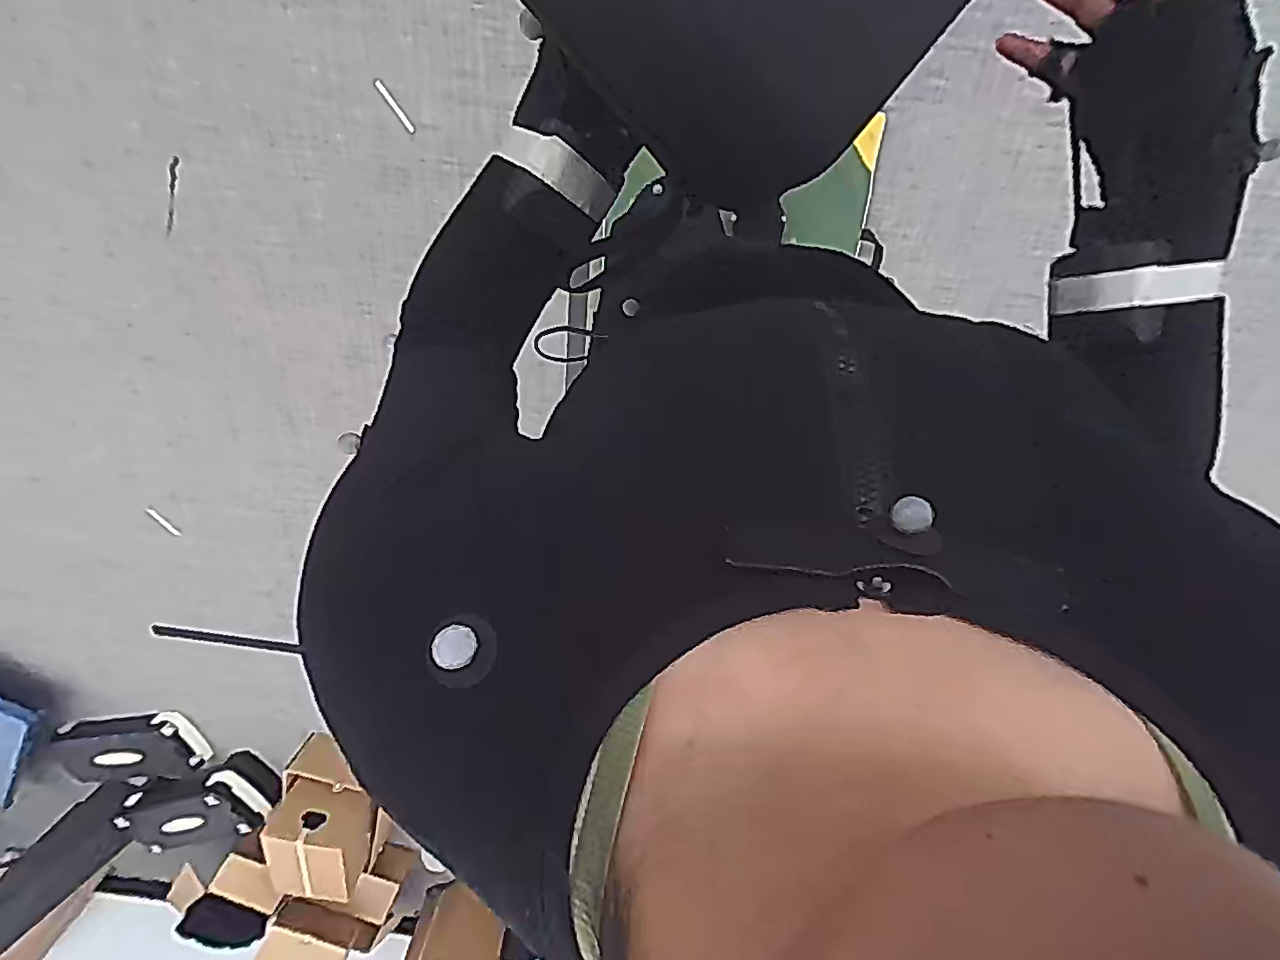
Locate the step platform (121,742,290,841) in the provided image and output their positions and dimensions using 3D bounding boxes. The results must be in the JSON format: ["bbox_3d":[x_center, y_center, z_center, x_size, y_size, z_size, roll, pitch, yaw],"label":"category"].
[{"bbox_3d":[-1.965,1.413,2.442,0.684,0.204,0.286,-20,114,14],"label":"step platform"}]
